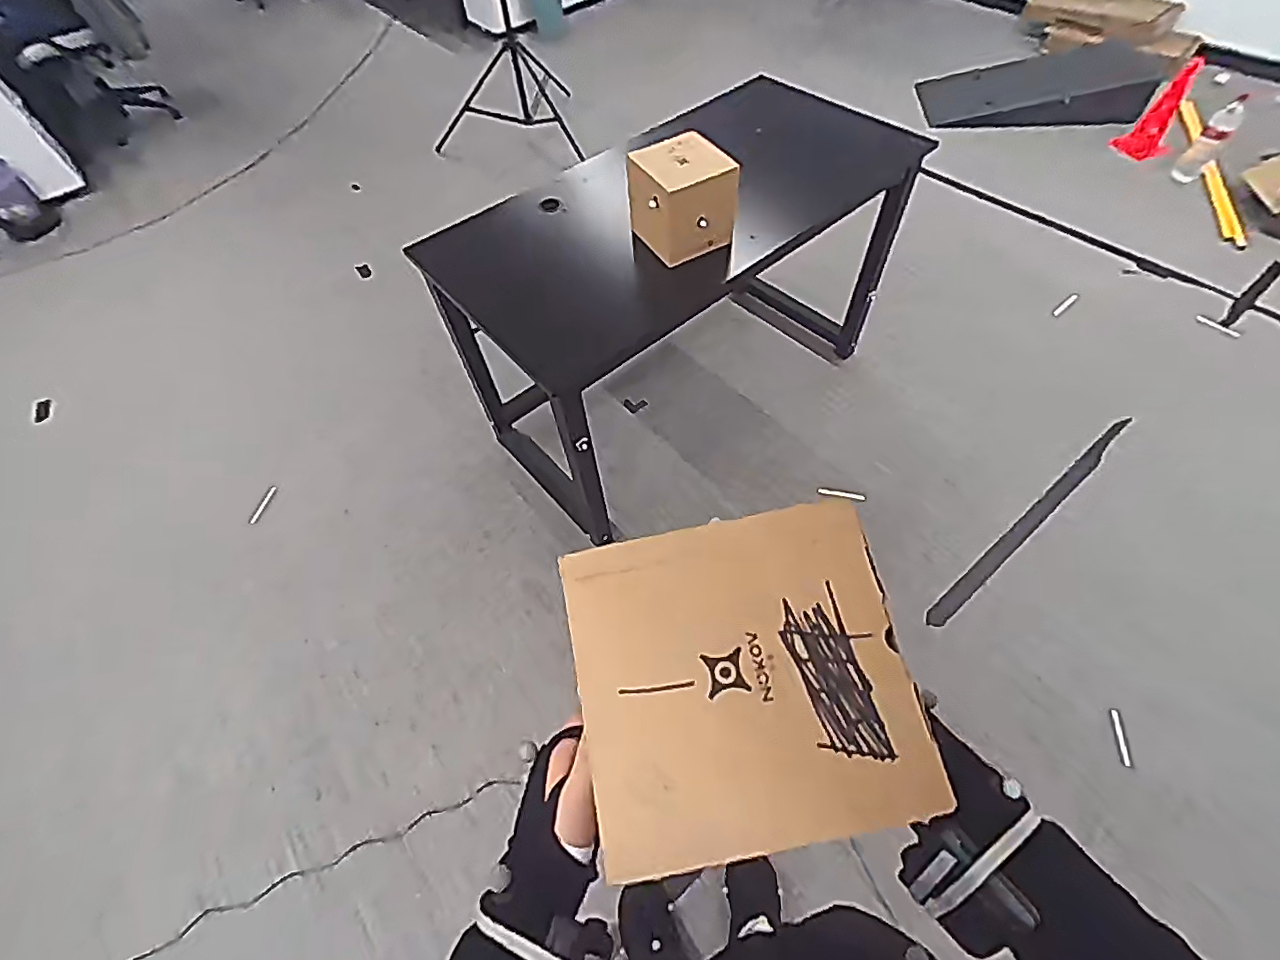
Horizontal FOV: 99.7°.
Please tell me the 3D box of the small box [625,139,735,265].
[{"bbox_3d":[0.085,-0.588,1.161,0.168,0.176,0.179,-27,59,-13],"label":"small box"}]
